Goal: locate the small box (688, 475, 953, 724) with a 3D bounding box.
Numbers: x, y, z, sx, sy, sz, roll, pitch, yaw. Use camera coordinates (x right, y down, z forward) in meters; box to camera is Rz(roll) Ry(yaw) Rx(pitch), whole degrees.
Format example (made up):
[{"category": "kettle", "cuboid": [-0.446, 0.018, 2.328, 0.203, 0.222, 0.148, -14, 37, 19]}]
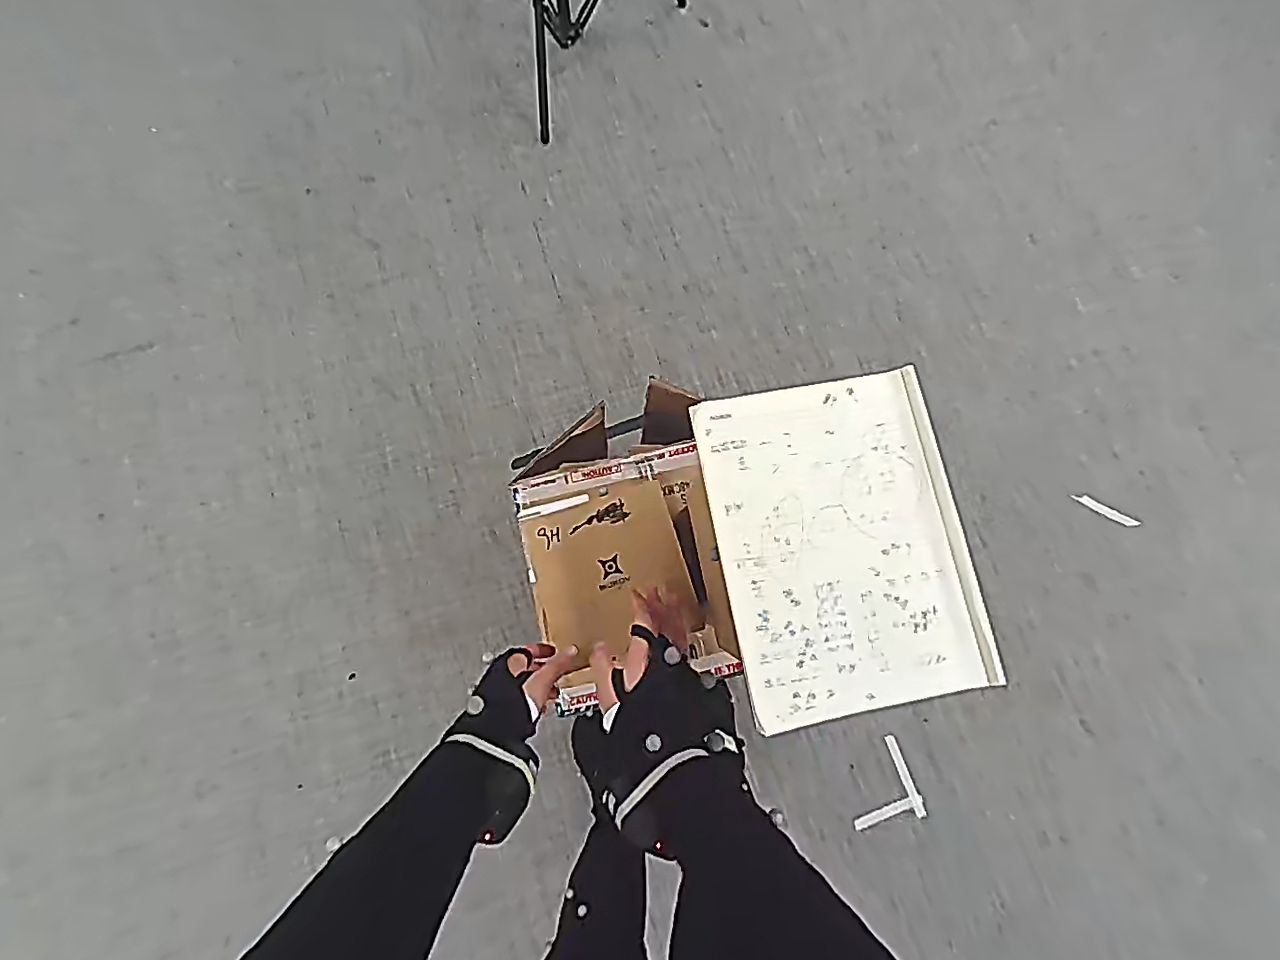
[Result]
[{"category": "small box", "cuboid": [0.149, 0.105, 0.514, 0.168, 0.176, 0.179, -10, 82, -6]}]
